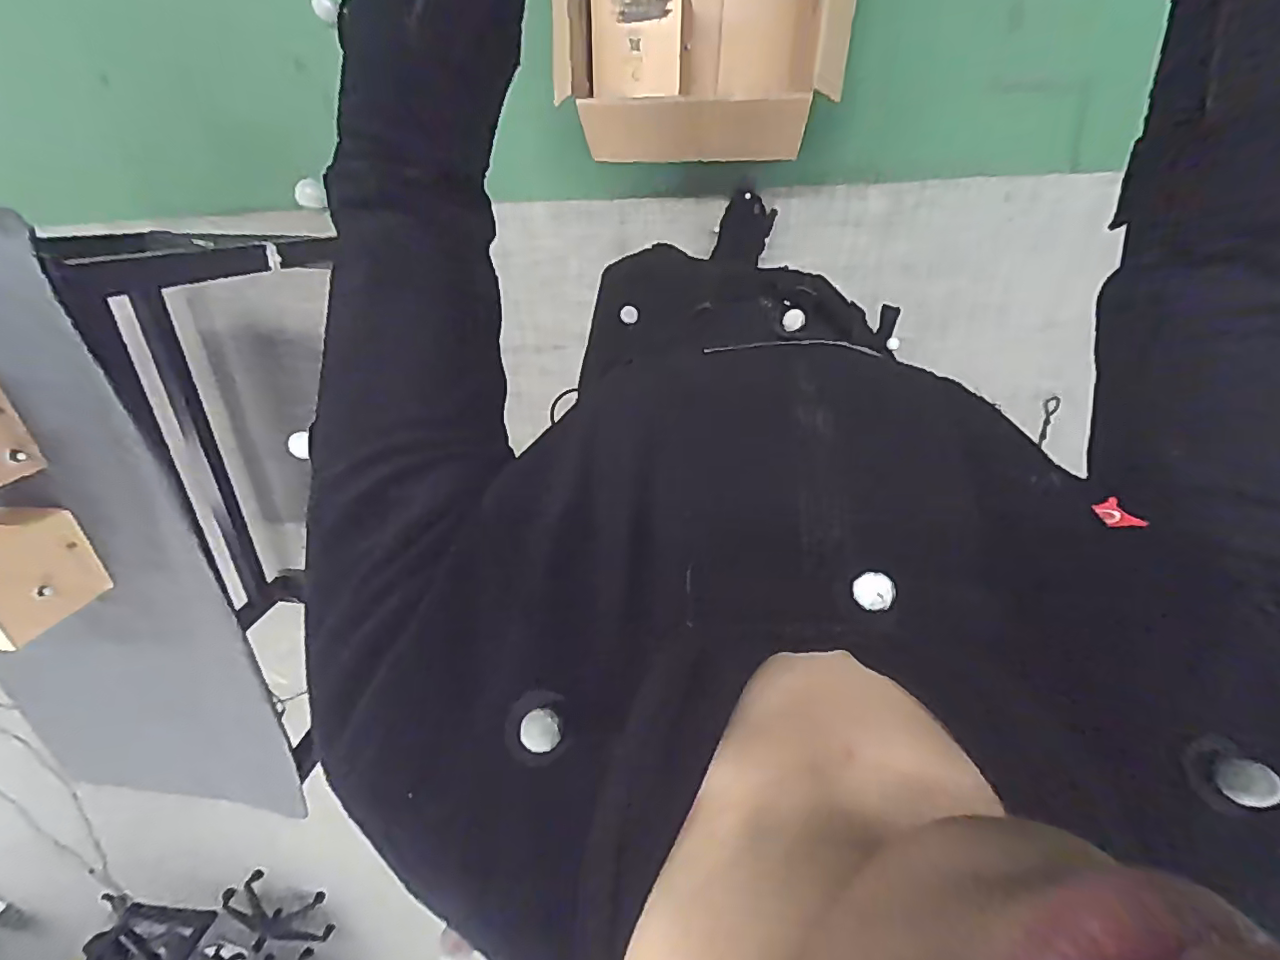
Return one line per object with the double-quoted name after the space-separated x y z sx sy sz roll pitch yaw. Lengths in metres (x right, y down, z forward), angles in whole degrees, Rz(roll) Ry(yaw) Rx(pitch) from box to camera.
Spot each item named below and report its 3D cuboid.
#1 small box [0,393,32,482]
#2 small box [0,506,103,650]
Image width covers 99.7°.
-1.050 -0.059 0.772 0.179 0.176 0.168 1 117 8 "small box"
-1.049 0.154 0.884 0.179 0.176 0.168 1 117 8 "small box"
